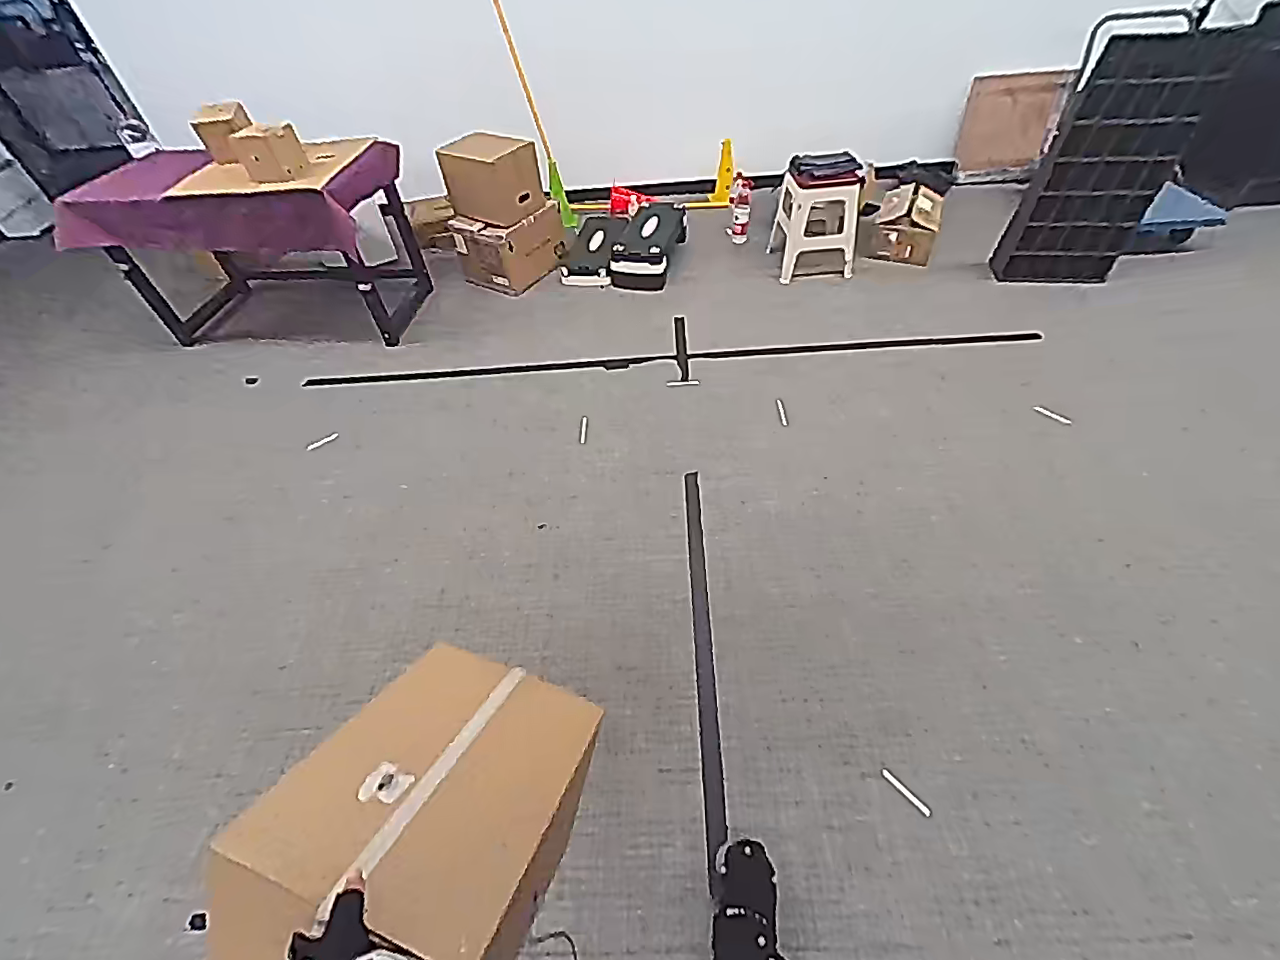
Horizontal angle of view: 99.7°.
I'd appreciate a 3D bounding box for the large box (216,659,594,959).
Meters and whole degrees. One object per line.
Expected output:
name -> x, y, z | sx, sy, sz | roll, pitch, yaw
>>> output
large box -> -0.297, 0.541, 0.775 | 0.320, 0.320, 0.408 | 17, 17, 10
